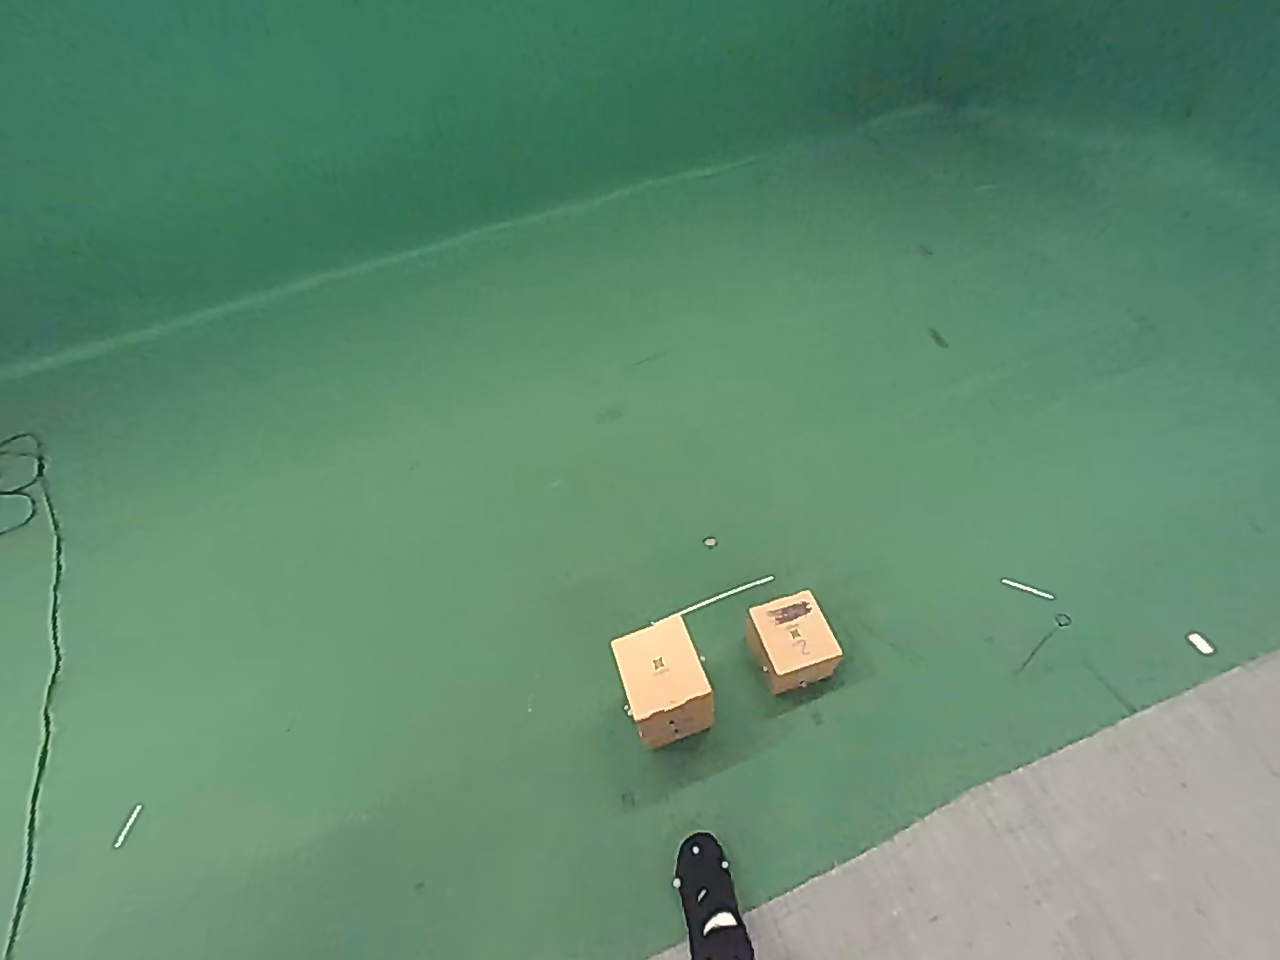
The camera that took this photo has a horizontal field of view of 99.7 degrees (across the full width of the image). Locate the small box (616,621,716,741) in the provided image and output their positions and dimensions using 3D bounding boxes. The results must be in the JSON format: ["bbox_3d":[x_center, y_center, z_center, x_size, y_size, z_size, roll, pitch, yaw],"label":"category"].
[{"bbox_3d":[0.058,0.443,1.186,0.168,0.176,0.179,-19,53,-6],"label":"small box"}]

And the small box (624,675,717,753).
[{"bbox_3d":[0.076,0.539,1.316,0.179,0.176,0.168,-20,52,-5],"label":"small box"}]
